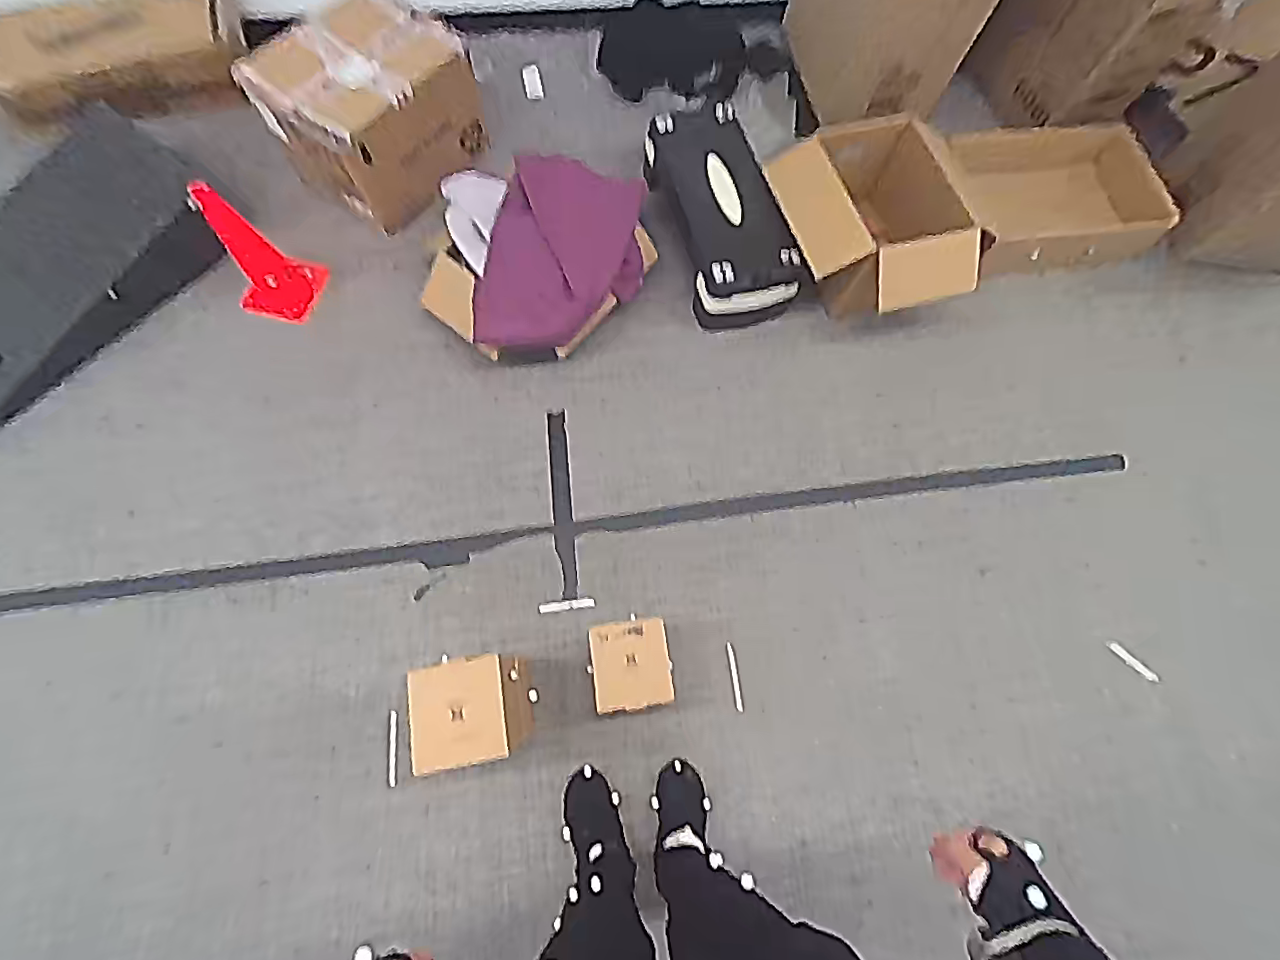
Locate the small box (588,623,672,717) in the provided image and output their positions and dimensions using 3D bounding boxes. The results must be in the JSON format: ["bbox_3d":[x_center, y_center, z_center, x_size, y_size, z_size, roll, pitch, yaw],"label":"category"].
[{"bbox_3d":[-0.024,0.426,1.230,0.168,0.176,0.179,-6,72,-5],"label":"small box"}]

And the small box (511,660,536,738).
[{"bbox_3d":[-0.335,0.496,1.189,0.179,0.176,0.168,-8,72,-6],"label":"small box"}]

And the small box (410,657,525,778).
[{"bbox_3d":[-0.324,0.444,1.035,0.168,0.176,0.179,-11,73,-5],"label":"small box"}]
